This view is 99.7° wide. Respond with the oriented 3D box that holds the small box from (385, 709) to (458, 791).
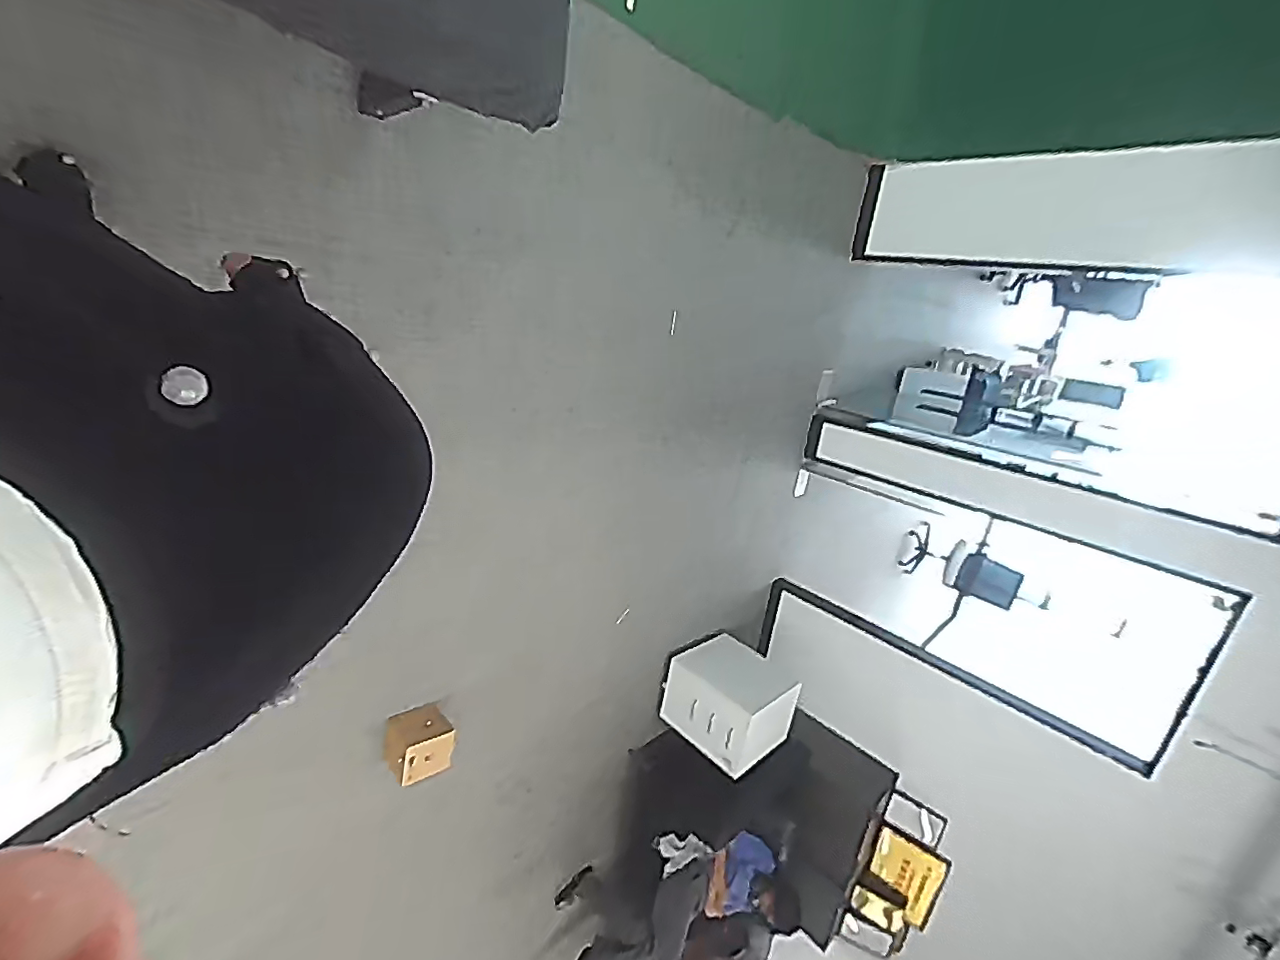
[{"bbox_3d":[-0.776,0.948,1.919,0.179,0.176,0.168,-2,110,-47],"label":"small box"}]
